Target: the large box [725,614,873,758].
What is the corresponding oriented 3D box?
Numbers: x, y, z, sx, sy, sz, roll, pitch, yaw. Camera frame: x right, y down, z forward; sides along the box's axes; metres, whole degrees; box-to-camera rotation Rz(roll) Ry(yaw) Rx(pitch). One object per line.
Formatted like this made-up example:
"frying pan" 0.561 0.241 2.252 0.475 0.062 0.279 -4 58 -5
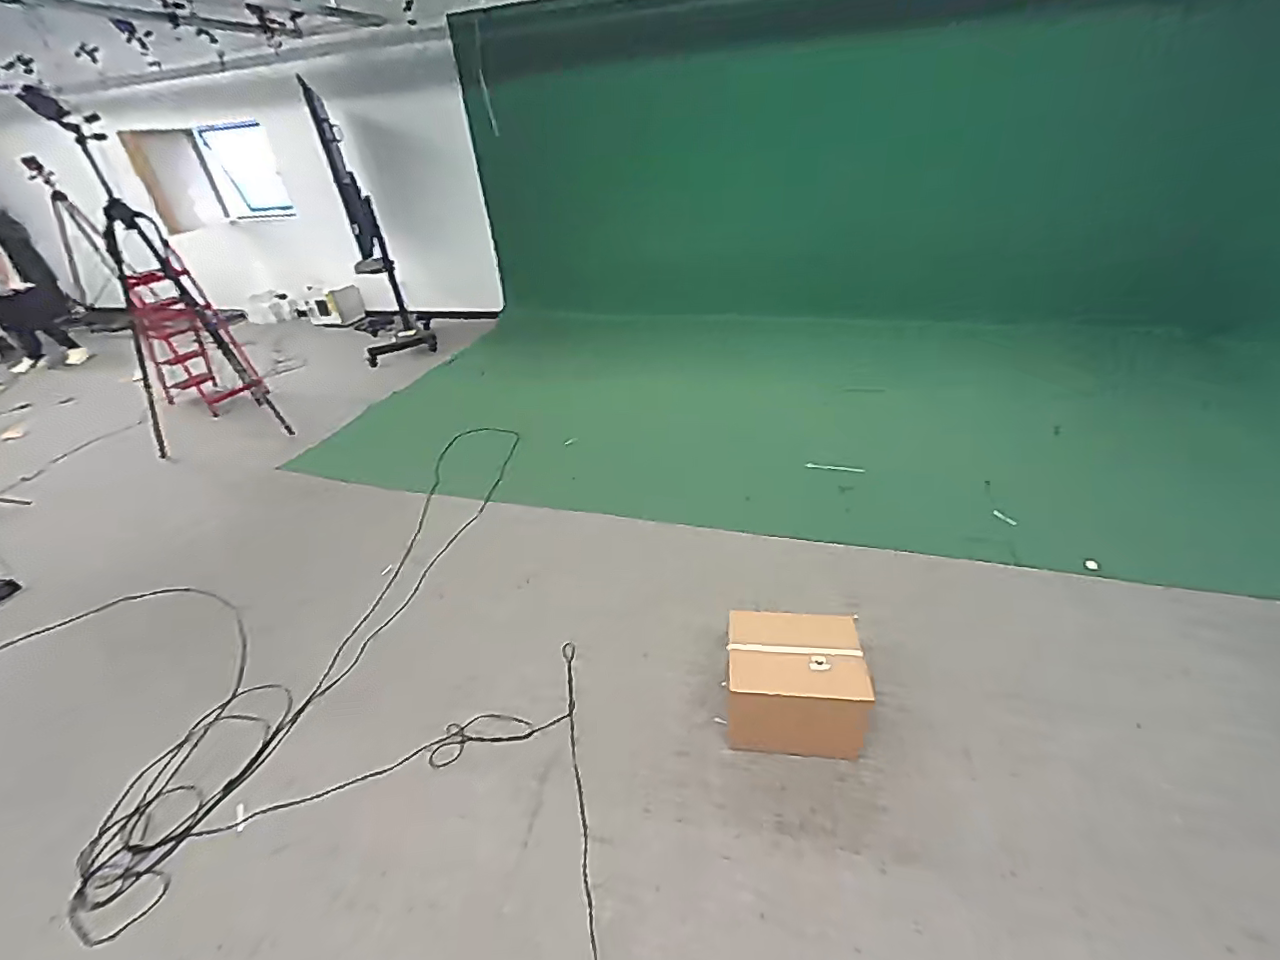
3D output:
"large box" 0.484 0.657 1.743 0.408 0.320 0.320 1 34 8
